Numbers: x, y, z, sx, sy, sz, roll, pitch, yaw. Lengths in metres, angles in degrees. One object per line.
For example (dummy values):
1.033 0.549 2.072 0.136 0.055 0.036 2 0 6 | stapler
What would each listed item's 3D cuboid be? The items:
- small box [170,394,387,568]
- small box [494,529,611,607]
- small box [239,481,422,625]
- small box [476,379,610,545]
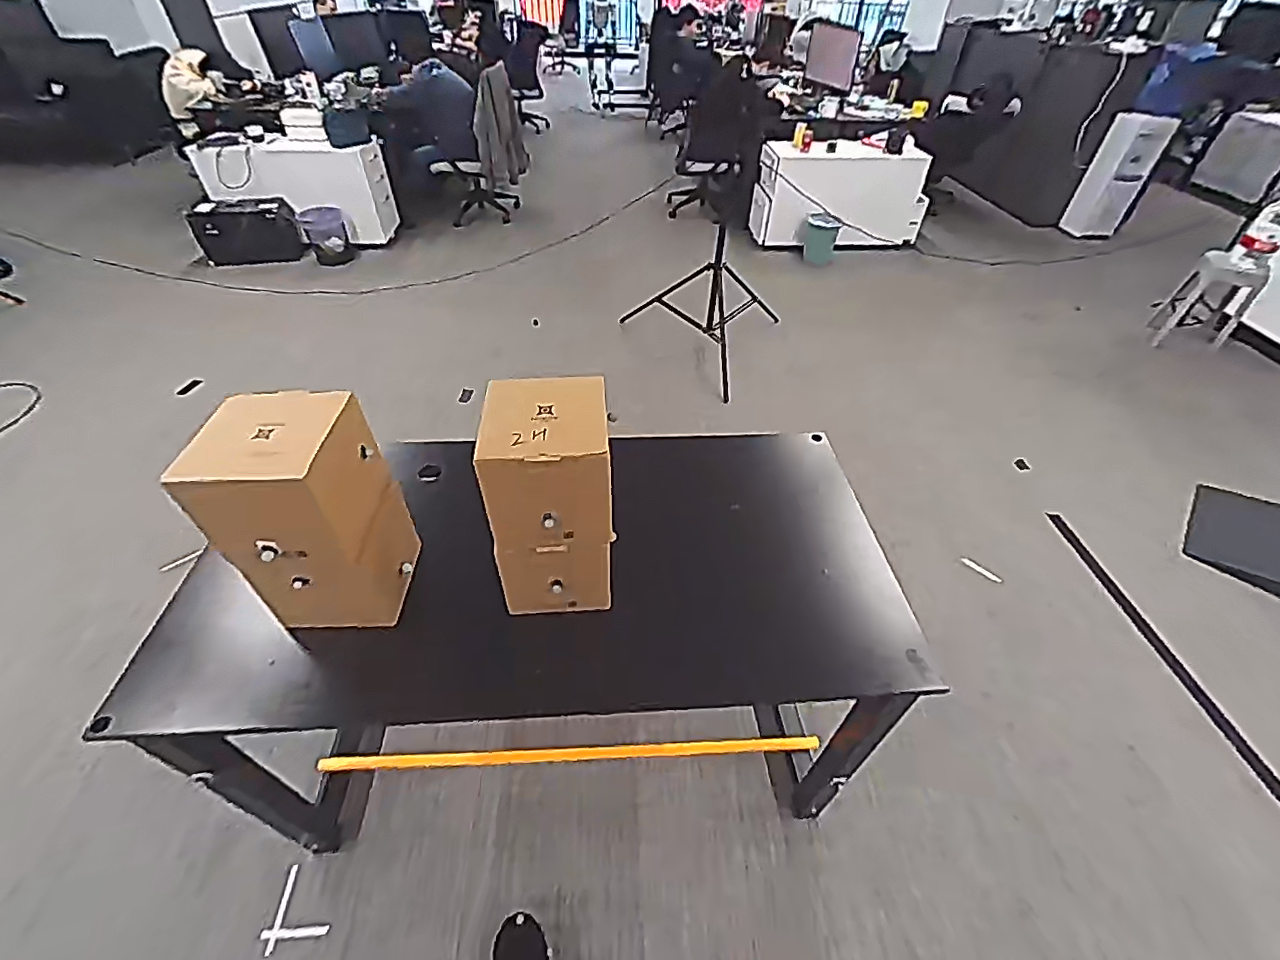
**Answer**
-0.469 0.001 0.743 0.168 0.176 0.179 -2 45 -2 | small box
-0.135 0.097 0.890 0.168 0.176 0.179 -3 44 -4 | small box
-0.471 0.117 0.856 0.179 0.176 0.168 0 44 -3 | small box
-0.129 -0.027 0.780 0.168 0.176 0.179 -3 44 -4 | small box
